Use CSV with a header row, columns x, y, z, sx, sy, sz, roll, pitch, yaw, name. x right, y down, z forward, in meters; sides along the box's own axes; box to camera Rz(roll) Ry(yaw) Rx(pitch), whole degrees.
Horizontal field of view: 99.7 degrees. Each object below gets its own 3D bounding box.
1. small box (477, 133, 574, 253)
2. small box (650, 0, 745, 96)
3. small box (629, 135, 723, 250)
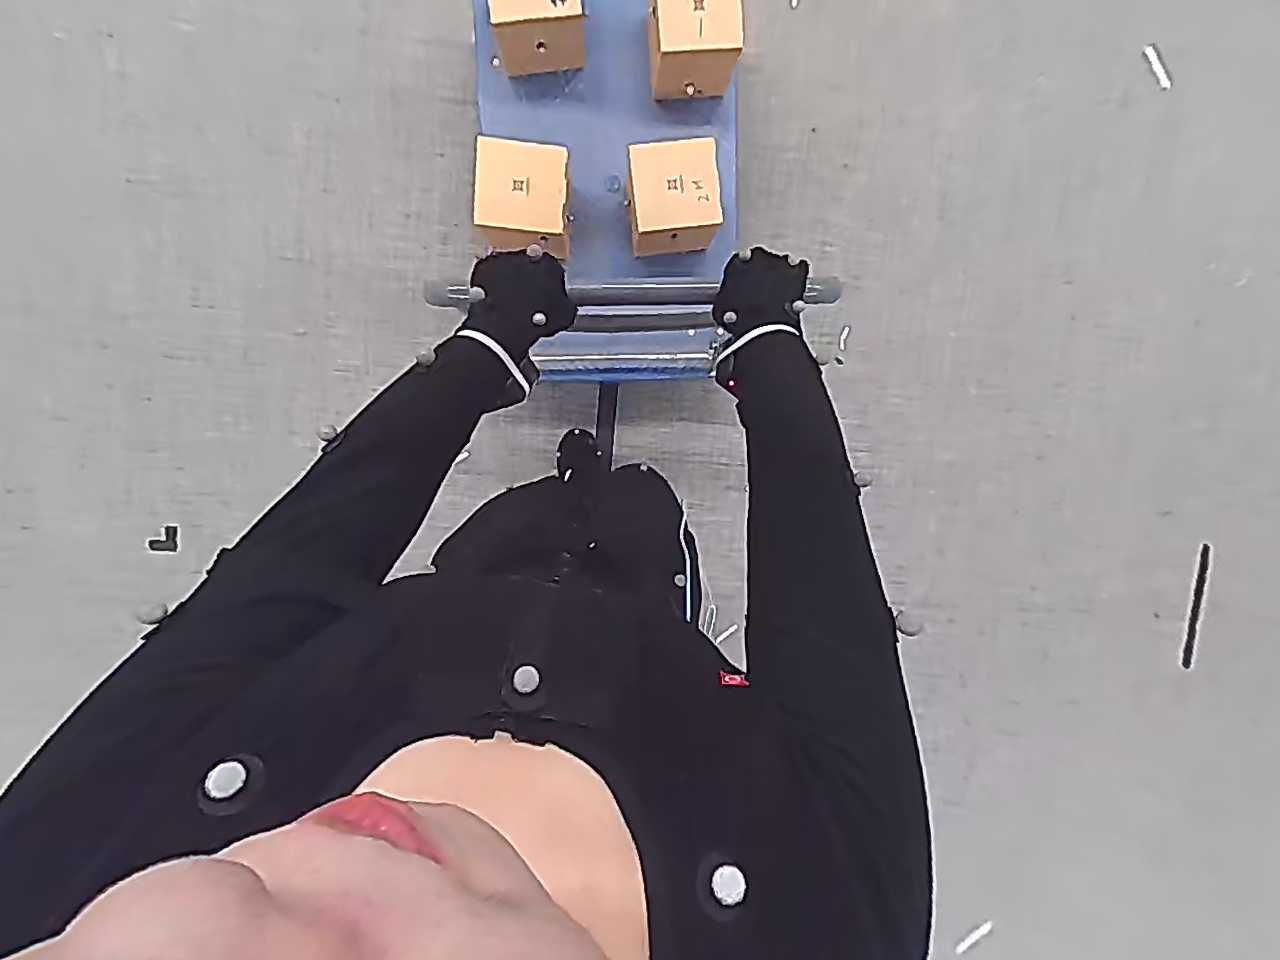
x,y,z,sx,sy,sz,roll,pitch,yaw,name
-0.235,-0.593,1.139,0.179,0.176,0.168,4,96,-6,small box
0.112,-0.938,1.120,0.168,0.176,0.179,-5,98,-3,small box
0.070,-0.605,1.158,0.179,0.176,0.168,-7,98,-3,small box
